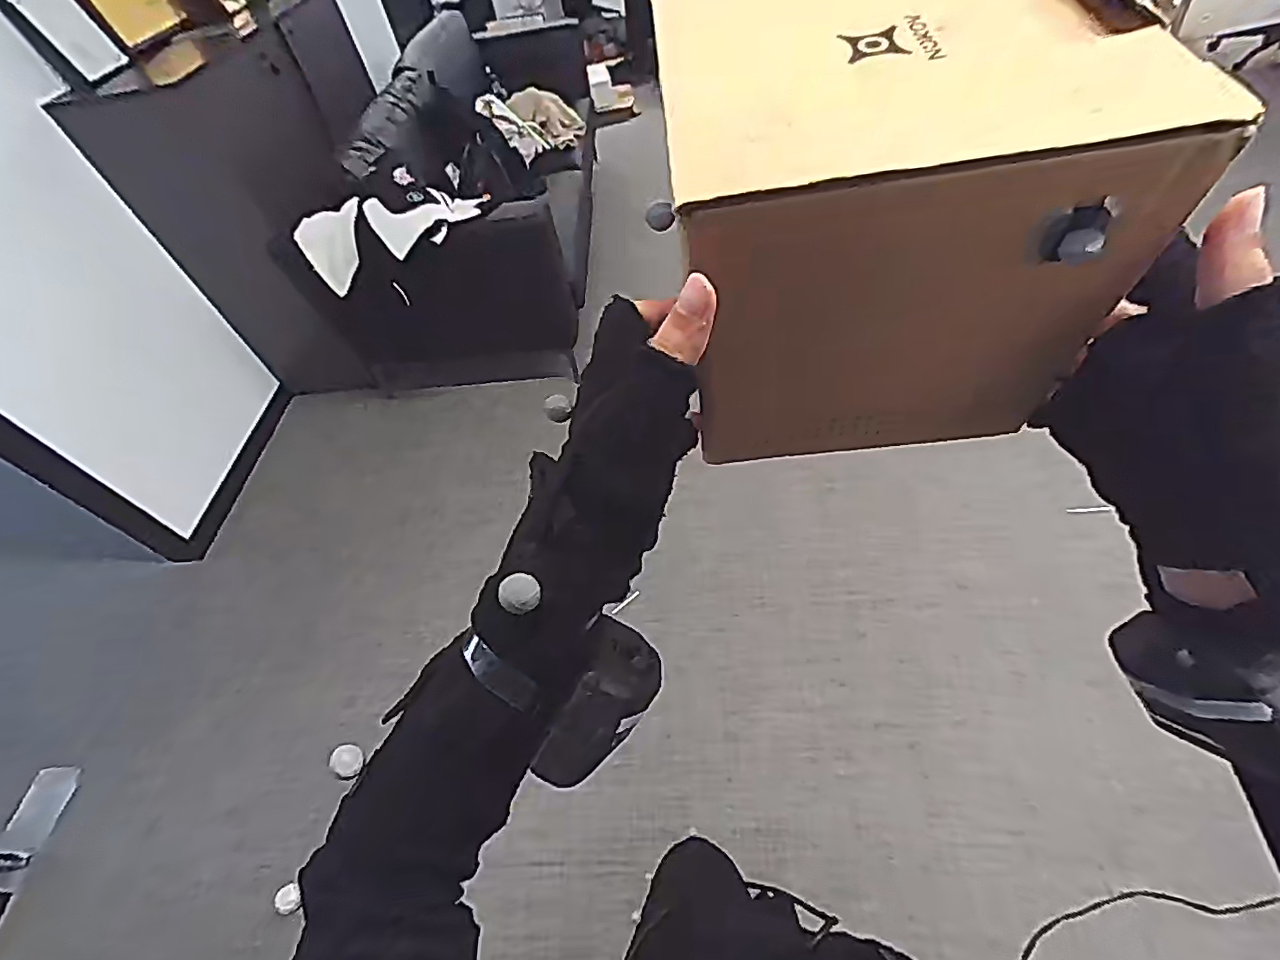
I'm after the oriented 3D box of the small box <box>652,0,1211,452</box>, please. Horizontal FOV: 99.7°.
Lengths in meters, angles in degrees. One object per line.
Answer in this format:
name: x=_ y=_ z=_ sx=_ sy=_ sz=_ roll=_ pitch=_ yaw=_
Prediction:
small box: x=0.106 y=-0.128 z=0.288 sx=0.179 sy=0.176 sz=0.168 roll=-6 pitch=60 yaw=6
